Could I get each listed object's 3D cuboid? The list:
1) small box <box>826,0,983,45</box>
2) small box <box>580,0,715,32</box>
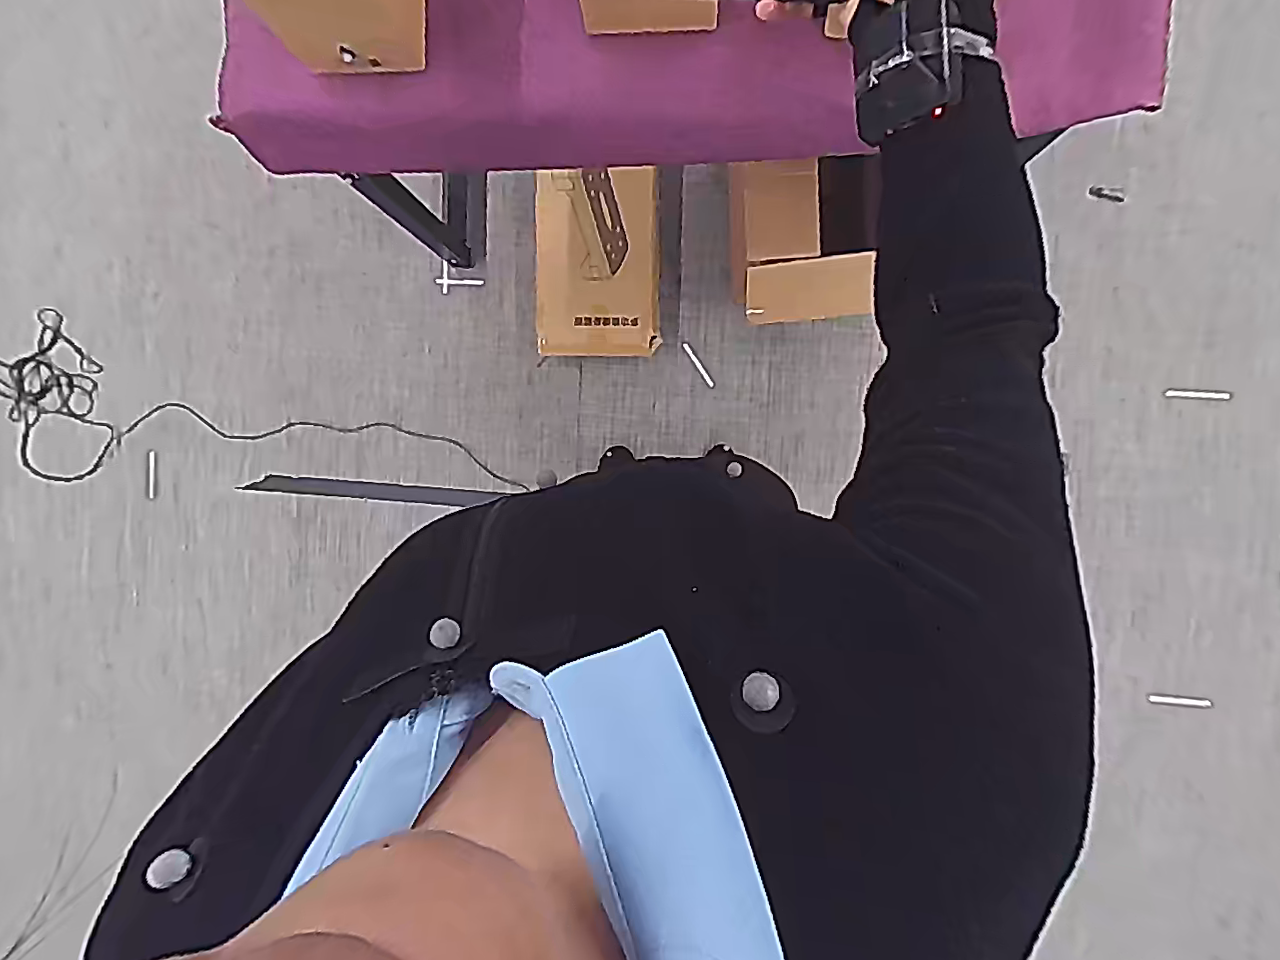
[{"bbox_3d":[0.327,-0.643,0.616,0.179,0.176,0.168,8,94,3],"label":"small box"},{"bbox_3d":[0.011,-0.673,0.635,0.179,0.176,0.168,1,91,4],"label":"small box"}]
